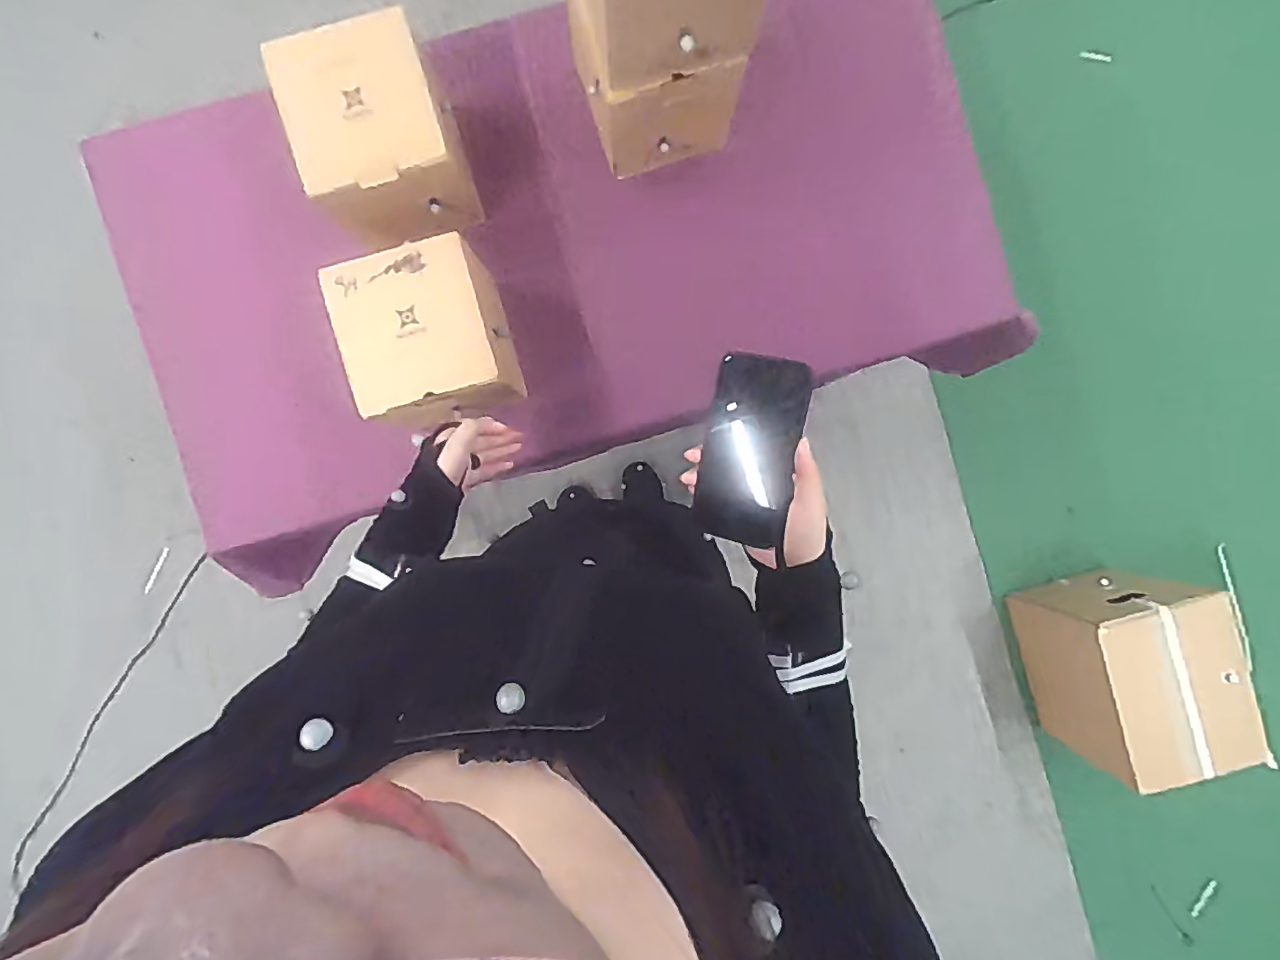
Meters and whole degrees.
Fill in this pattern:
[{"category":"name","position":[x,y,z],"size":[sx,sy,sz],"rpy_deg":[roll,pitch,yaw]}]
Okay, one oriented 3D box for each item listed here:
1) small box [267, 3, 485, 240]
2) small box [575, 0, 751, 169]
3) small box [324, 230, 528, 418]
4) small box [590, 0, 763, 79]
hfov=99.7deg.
[{"category":"small box","position":[-0.312,-0.426,0.680],"size":[0.168,0.176,0.179],"rpy_deg":[-16,92,-1]},{"category":"small box","position":[0.020,-0.536,0.676],"size":[0.168,0.176,0.179],"rpy_deg":[-19,93,1]},{"category":"small box","position":[-0.253,-0.180,0.688],"size":[0.168,0.176,0.179],"rpy_deg":[-16,92,0]},{"category":"small box","position":[0.024,-0.538,0.511],"size":[0.168,0.176,0.179],"rpy_deg":[-16,93,1]}]
